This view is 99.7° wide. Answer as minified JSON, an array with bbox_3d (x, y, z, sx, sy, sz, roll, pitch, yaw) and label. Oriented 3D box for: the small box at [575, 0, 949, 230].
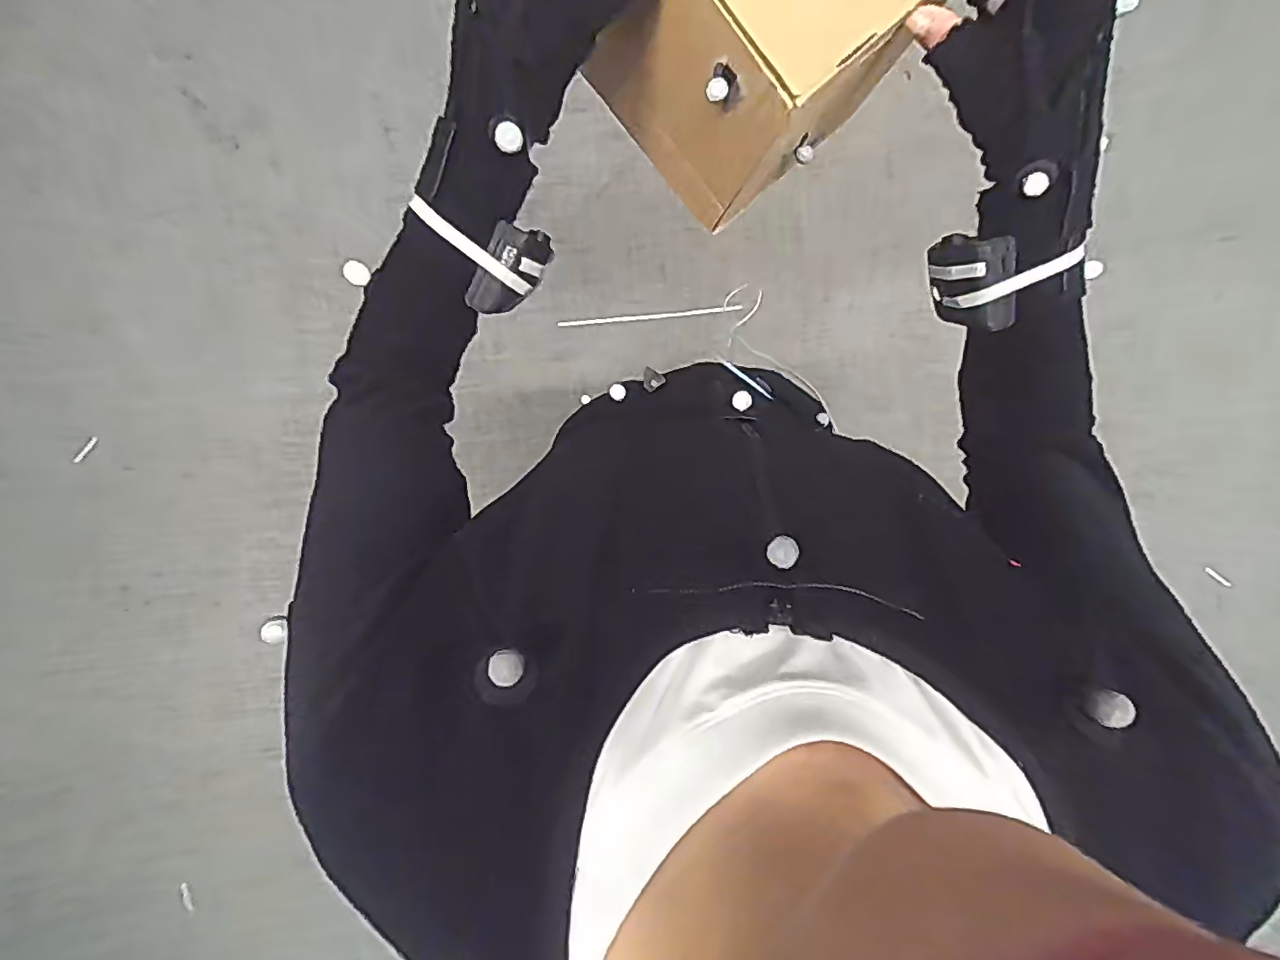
[{"bbox_3d":[0.070,-0.312,0.363,0.168,0.176,0.179,-41,97,-5],"label":"small box"}]
